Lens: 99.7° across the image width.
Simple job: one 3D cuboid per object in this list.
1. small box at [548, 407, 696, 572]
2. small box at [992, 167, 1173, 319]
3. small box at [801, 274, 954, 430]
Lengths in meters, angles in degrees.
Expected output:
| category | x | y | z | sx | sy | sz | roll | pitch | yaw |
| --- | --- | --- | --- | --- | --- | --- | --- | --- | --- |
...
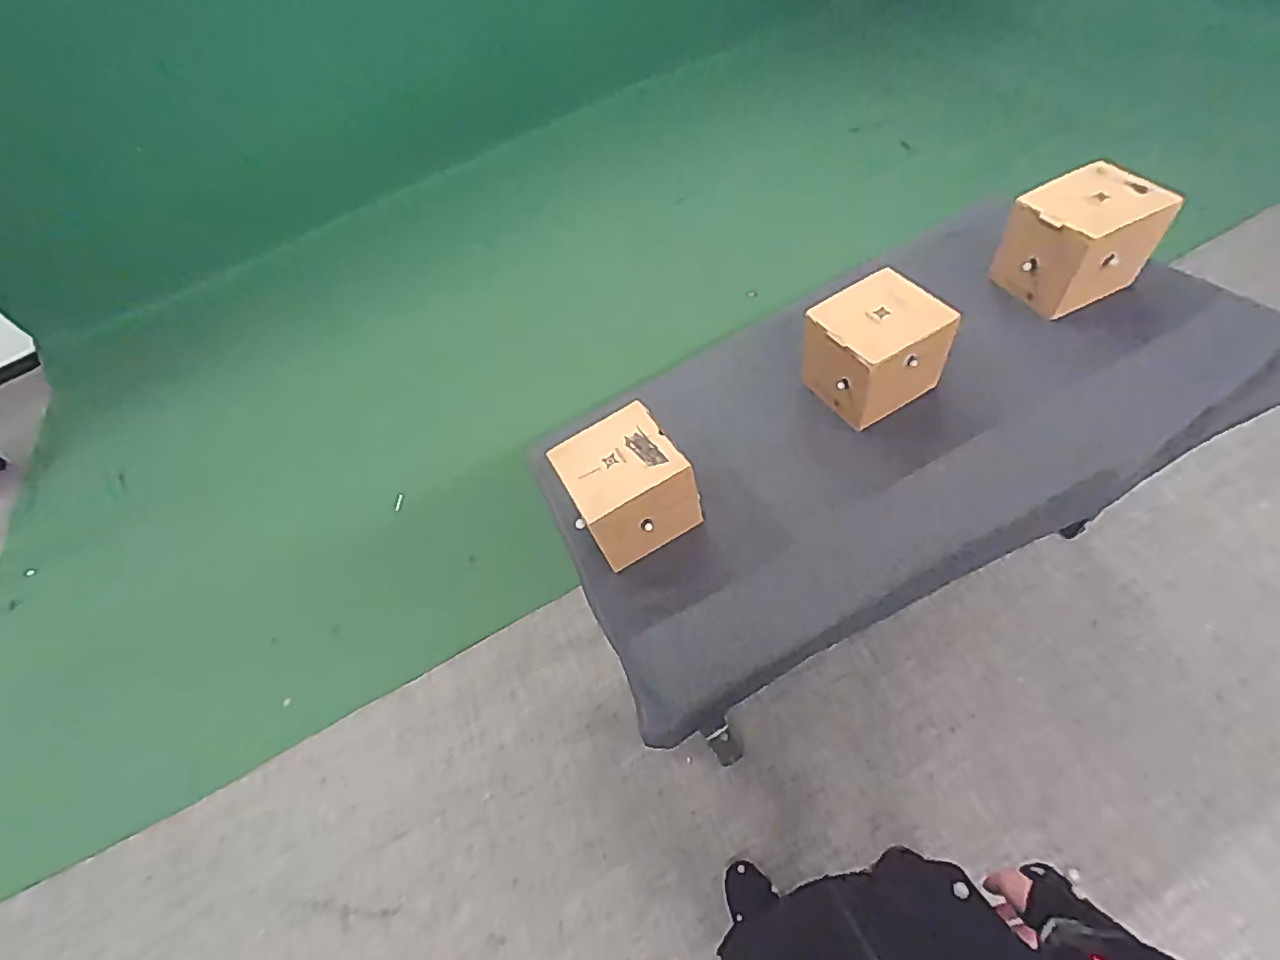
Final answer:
| category | x | y | z | sx | sy | sz | roll | pitch | yaw |
| --- | --- | --- | --- | --- | --- | --- | --- | --- | --- |
| small box | -0.021 | 0.020 | 0.890 | 0.179 | 0.176 | 0.168 | -30 | 55 | -7 |
| small box | 0.785 | -0.427 | 0.989 | 0.179 | 0.176 | 0.168 | -25 | 55 | -2 |
| small box | 0.402 | -0.219 | 0.950 | 0.179 | 0.176 | 0.168 | -29 | 56 | -8 |
